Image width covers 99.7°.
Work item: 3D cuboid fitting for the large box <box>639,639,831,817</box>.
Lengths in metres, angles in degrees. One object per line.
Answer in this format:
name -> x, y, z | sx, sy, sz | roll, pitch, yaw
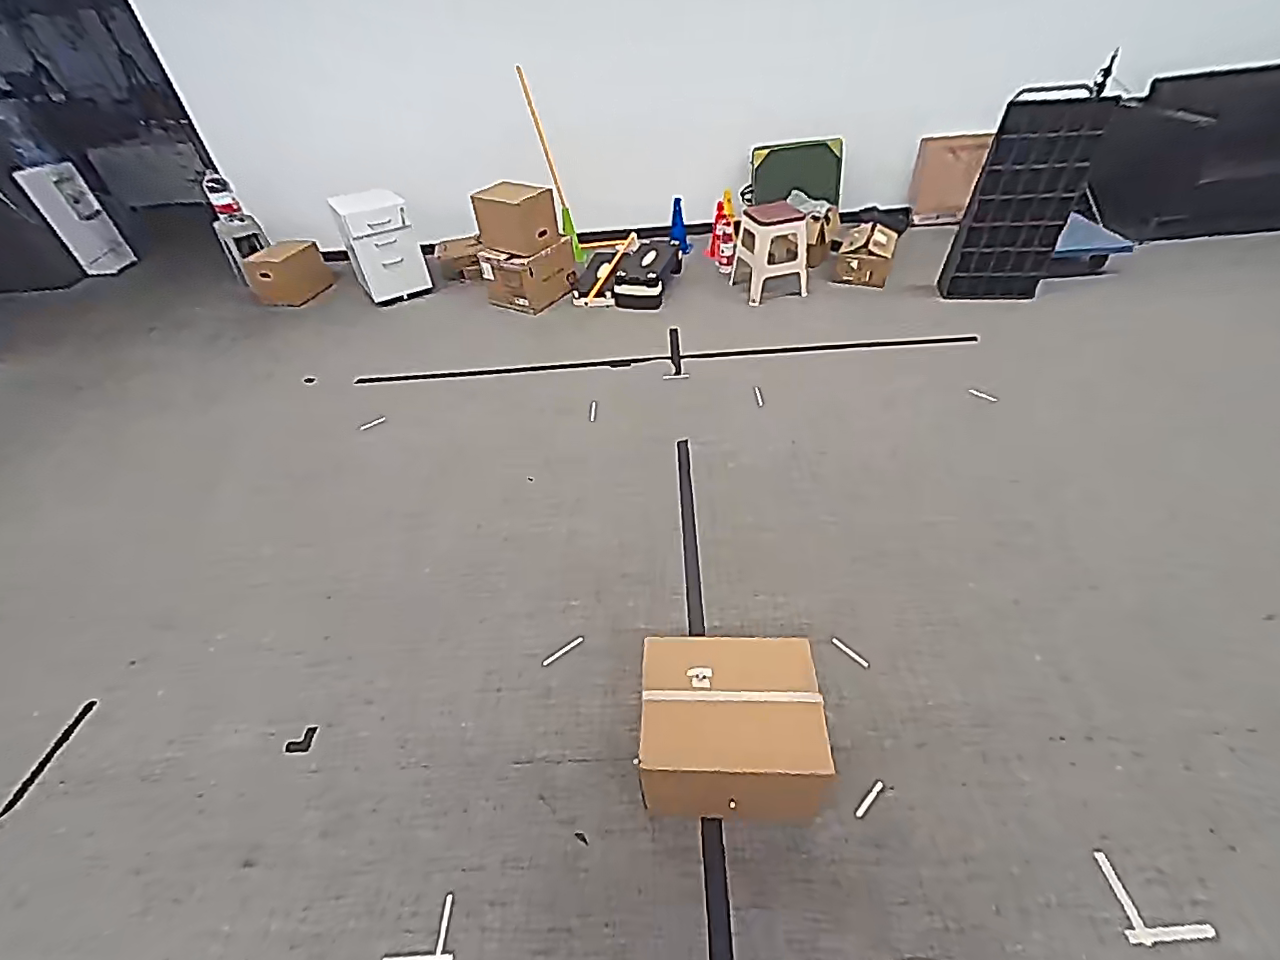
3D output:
large box -> 0.214, 0.611, 1.328 | 0.408, 0.320, 0.320 | -2, 42, 5
